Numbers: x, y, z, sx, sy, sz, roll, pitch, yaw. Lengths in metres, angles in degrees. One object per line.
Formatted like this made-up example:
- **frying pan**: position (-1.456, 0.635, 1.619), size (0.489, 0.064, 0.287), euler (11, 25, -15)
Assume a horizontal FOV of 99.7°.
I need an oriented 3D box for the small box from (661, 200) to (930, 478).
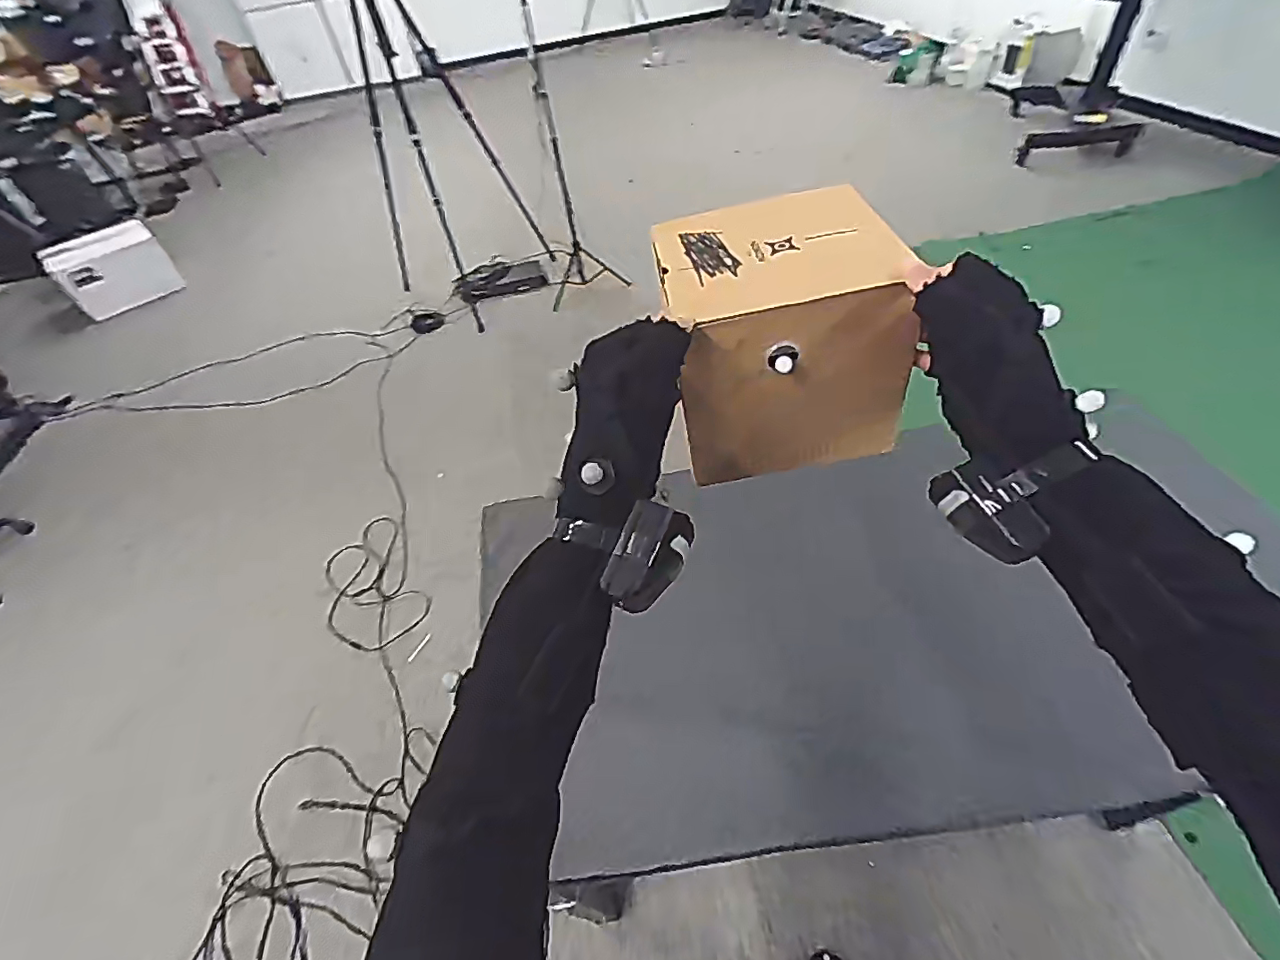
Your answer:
- **small box**: position (0.123, -0.120, 0.485), size (0.179, 0.176, 0.168), euler (-10, 46, 4)
